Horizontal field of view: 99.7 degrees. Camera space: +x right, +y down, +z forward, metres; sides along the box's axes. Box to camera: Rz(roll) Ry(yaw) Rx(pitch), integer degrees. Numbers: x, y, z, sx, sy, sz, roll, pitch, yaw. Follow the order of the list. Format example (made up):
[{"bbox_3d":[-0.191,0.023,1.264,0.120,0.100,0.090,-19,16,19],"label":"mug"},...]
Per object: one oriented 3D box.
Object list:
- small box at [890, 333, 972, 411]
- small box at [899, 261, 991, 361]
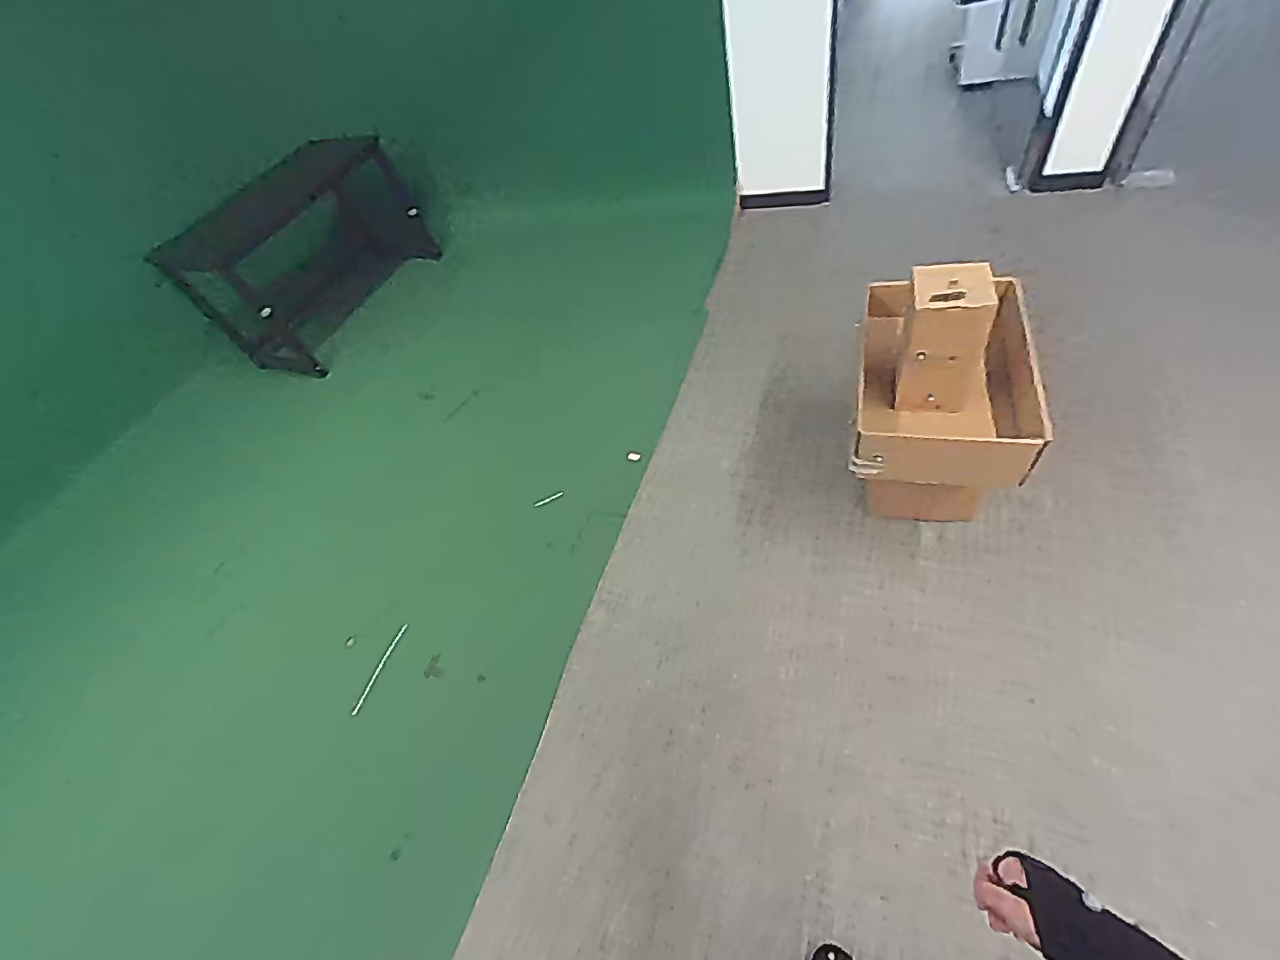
[{"bbox_3d":[0.772,-0.308,1.449,0.168,0.176,0.179,5,54,20],"label":"small box"},{"bbox_3d":[0.737,-0.407,1.324,0.168,0.176,0.179,4,53,18],"label":"small box"}]
